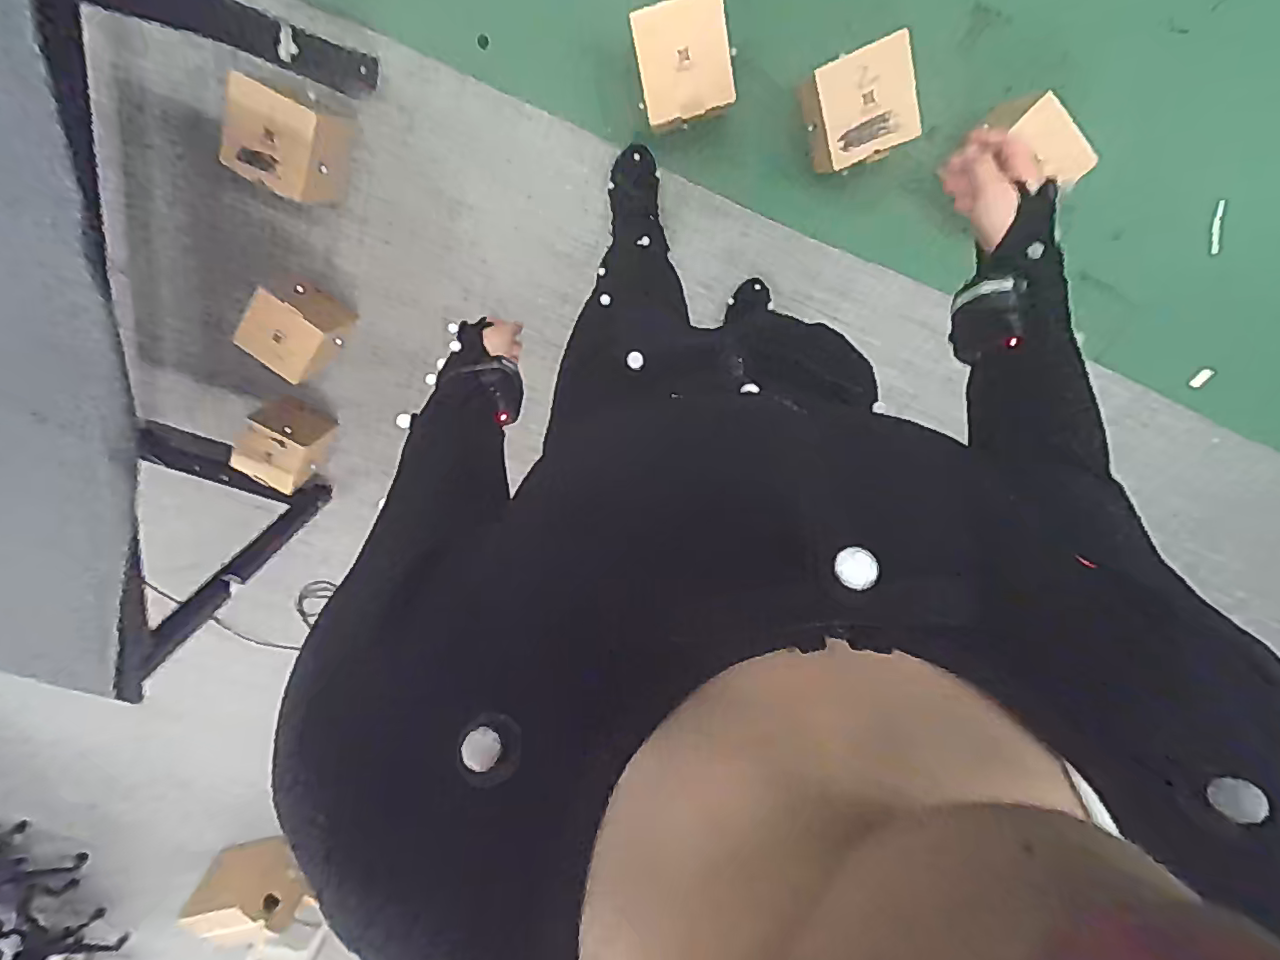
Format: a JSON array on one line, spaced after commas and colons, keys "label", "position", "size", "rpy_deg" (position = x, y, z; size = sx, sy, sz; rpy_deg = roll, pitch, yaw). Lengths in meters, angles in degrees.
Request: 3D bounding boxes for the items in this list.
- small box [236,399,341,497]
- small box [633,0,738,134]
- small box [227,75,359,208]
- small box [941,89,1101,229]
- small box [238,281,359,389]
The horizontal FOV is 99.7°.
[{"label": "small box", "position": [-0.970, -0.092, 1.503], "size": [0.168, 0.176, 0.179], "rpy_deg": [30, 118, -14]}, {"label": "small box", "position": [0.087, -0.797, 1.047], "size": [0.168, 0.176, 0.179], "rpy_deg": [-12, 119, 9]}, {"label": "small box", "position": [-0.724, -0.703, 1.141], "size": [0.168, 0.176, 0.179], "rpy_deg": [24, 117, -11]}, {"label": "small box", "position": [0.757, -0.641, 1.097], "size": [0.179, 0.176, 0.168], "rpy_deg": [37, 115, -17]}, {"label": "small box", "position": [-0.833, -0.365, 1.339], "size": [0.168, 0.176, 0.179], "rpy_deg": [38, 116, -16]}]
